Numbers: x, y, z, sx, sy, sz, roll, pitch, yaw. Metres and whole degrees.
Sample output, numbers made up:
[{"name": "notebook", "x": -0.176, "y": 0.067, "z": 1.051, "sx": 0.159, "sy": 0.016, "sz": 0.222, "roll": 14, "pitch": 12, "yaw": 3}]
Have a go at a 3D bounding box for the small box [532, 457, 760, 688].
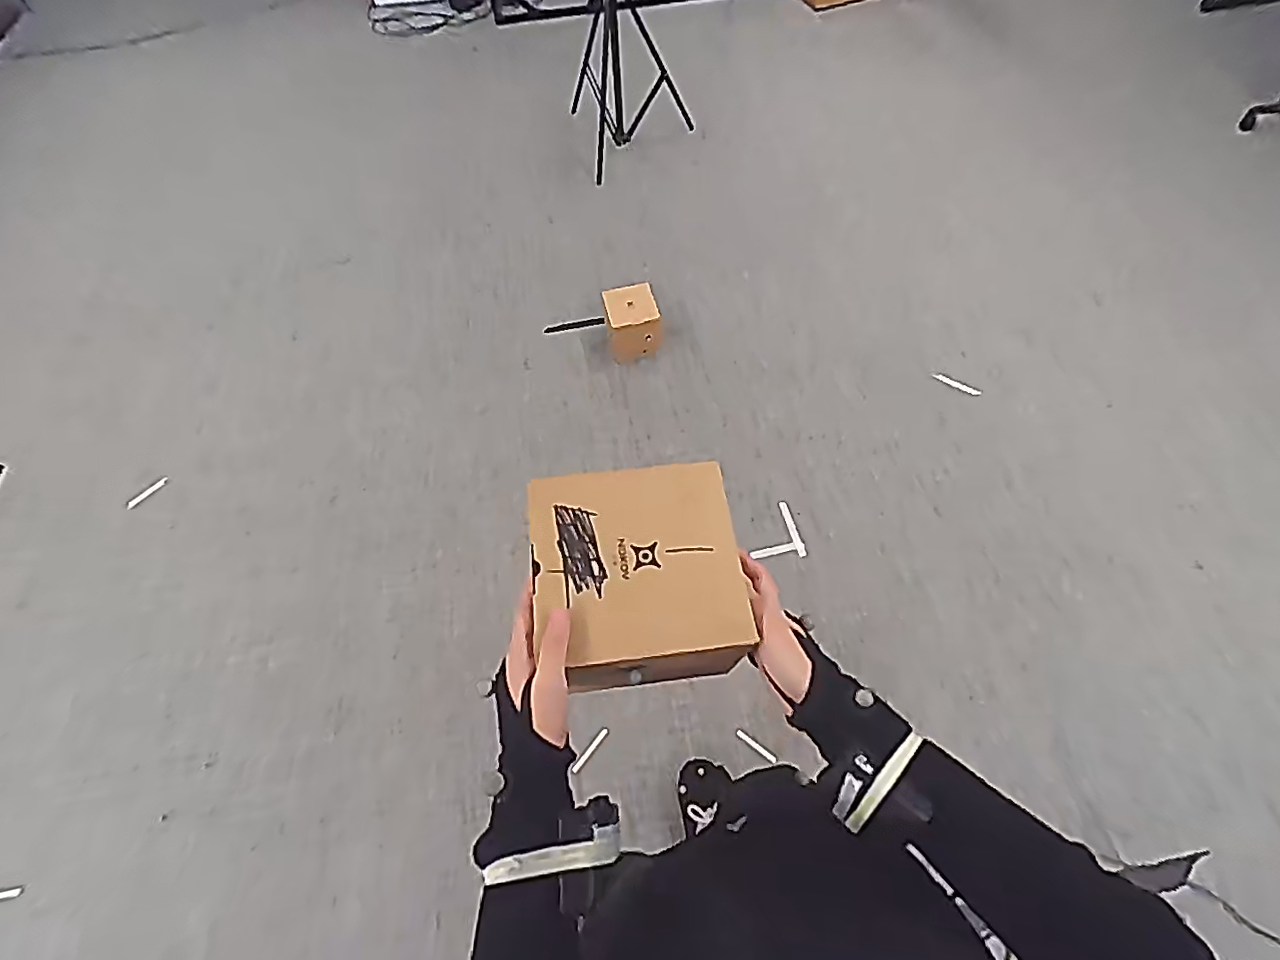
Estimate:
[{"name": "small box", "x": 0.000, "y": 0.097, "z": 0.520, "sx": 0.179, "sy": 0.176, "sz": 0.168, "roll": -6, "pitch": 63, "yaw": -3}]
